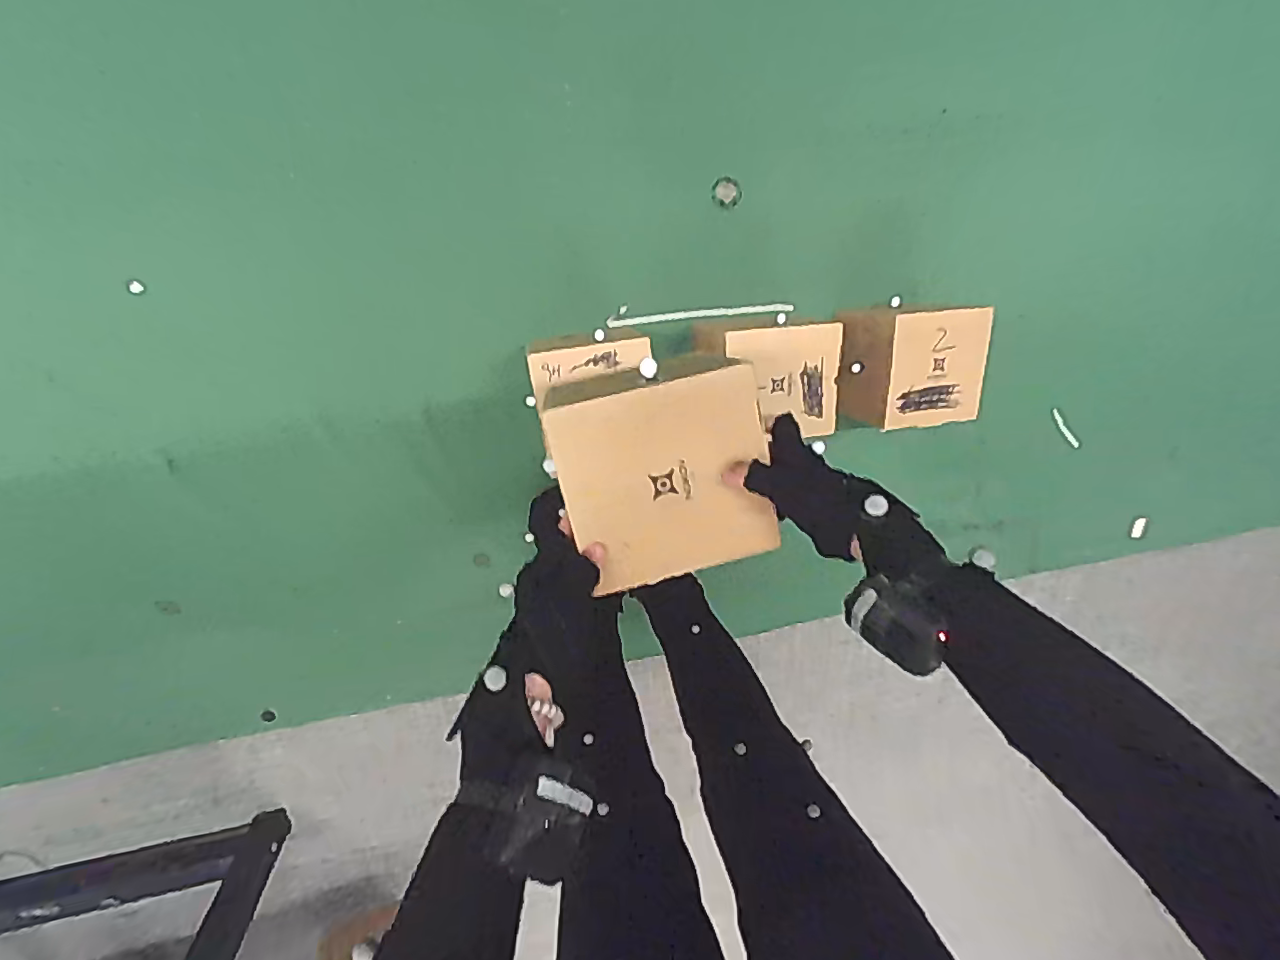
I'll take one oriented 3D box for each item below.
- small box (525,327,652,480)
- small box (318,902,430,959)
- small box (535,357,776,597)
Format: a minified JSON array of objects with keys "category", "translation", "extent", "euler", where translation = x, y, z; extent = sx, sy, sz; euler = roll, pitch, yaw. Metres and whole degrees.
[{"category":"small box","translation":[-0.073,-0.120,0.802],"extent":[0.168,0.176,0.179],"euler":[-10,113,-8]},{"category":"small box","translation":[-0.569,1.048,1.138],"extent":[0.179,0.176,0.168],"euler":[-19,114,-4]},{"category":"small box","translation":[0.009,-0.016,0.518],"extent":[0.179,0.176,0.168],"euler":[-14,108,-4]}]
